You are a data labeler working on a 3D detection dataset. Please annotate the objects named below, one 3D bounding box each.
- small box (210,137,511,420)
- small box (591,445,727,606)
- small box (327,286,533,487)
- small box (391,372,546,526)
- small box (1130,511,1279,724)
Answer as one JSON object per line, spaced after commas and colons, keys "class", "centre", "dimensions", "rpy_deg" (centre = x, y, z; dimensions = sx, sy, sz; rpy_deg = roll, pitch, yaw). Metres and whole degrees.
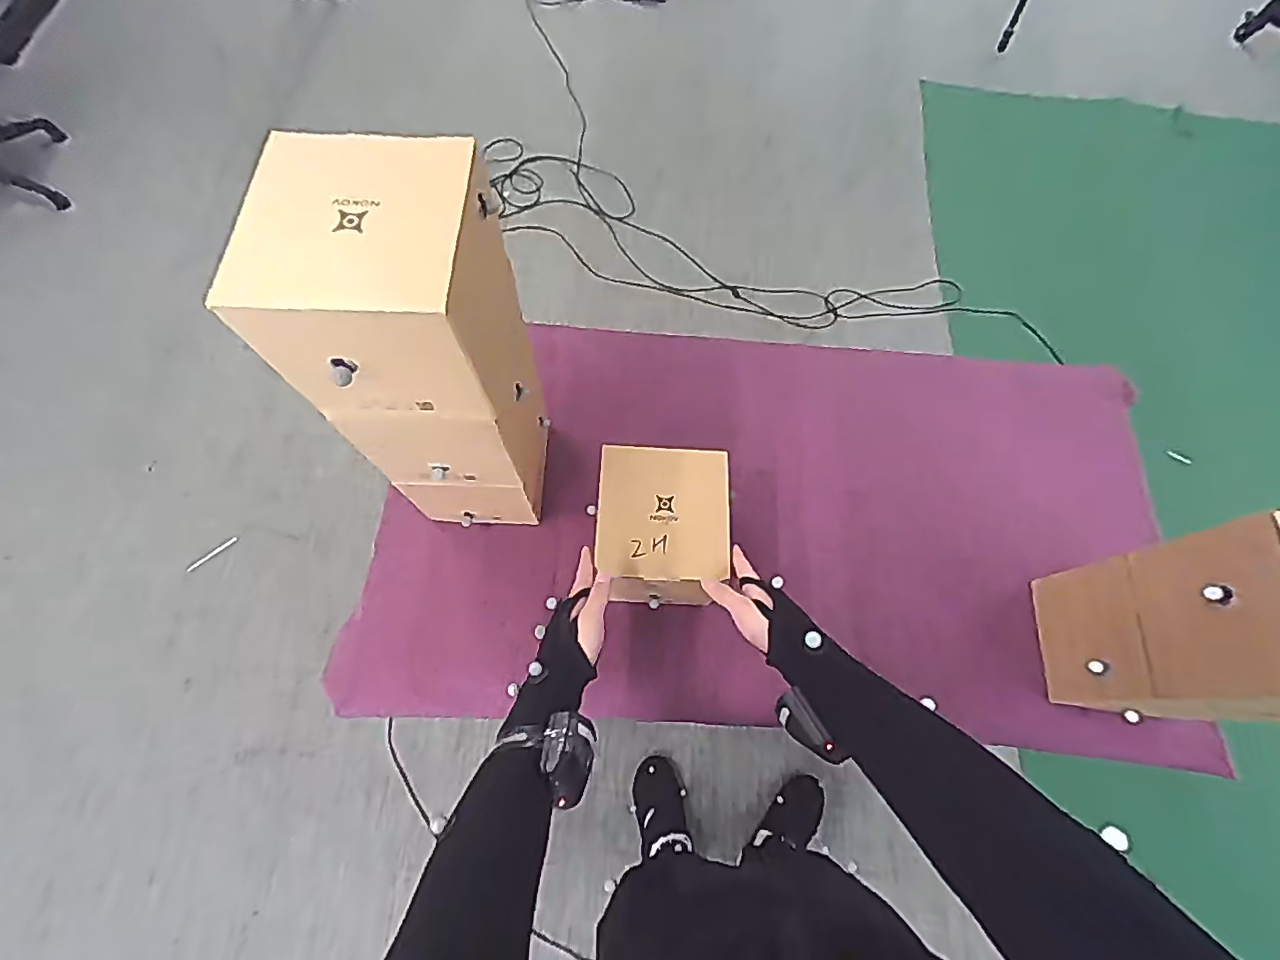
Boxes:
{"class": "small box", "centre": [-0.218, -0.165, 0.479], "dimensions": [0.168, 0.176, 0.179], "rpy_deg": [1, 68, -1]}
{"class": "small box", "centre": [0.024, 0.069, 0.748], "dimensions": [0.168, 0.176, 0.179], "rpy_deg": [3, 68, -1]}
{"class": "small box", "centre": [-0.223, -0.105, 0.630], "dimensions": [0.168, 0.176, 0.179], "rpy_deg": [2, 69, -1]}
{"class": "small box", "centre": [-0.231, -0.043, 0.781], "dimensions": [0.168, 0.176, 0.179], "rpy_deg": [2, 69, -1]}
{"class": "small box", "centre": [0.671, 0.151, 0.564], "dimensions": [0.168, 0.176, 0.179], "rpy_deg": [7, 67, 2]}
